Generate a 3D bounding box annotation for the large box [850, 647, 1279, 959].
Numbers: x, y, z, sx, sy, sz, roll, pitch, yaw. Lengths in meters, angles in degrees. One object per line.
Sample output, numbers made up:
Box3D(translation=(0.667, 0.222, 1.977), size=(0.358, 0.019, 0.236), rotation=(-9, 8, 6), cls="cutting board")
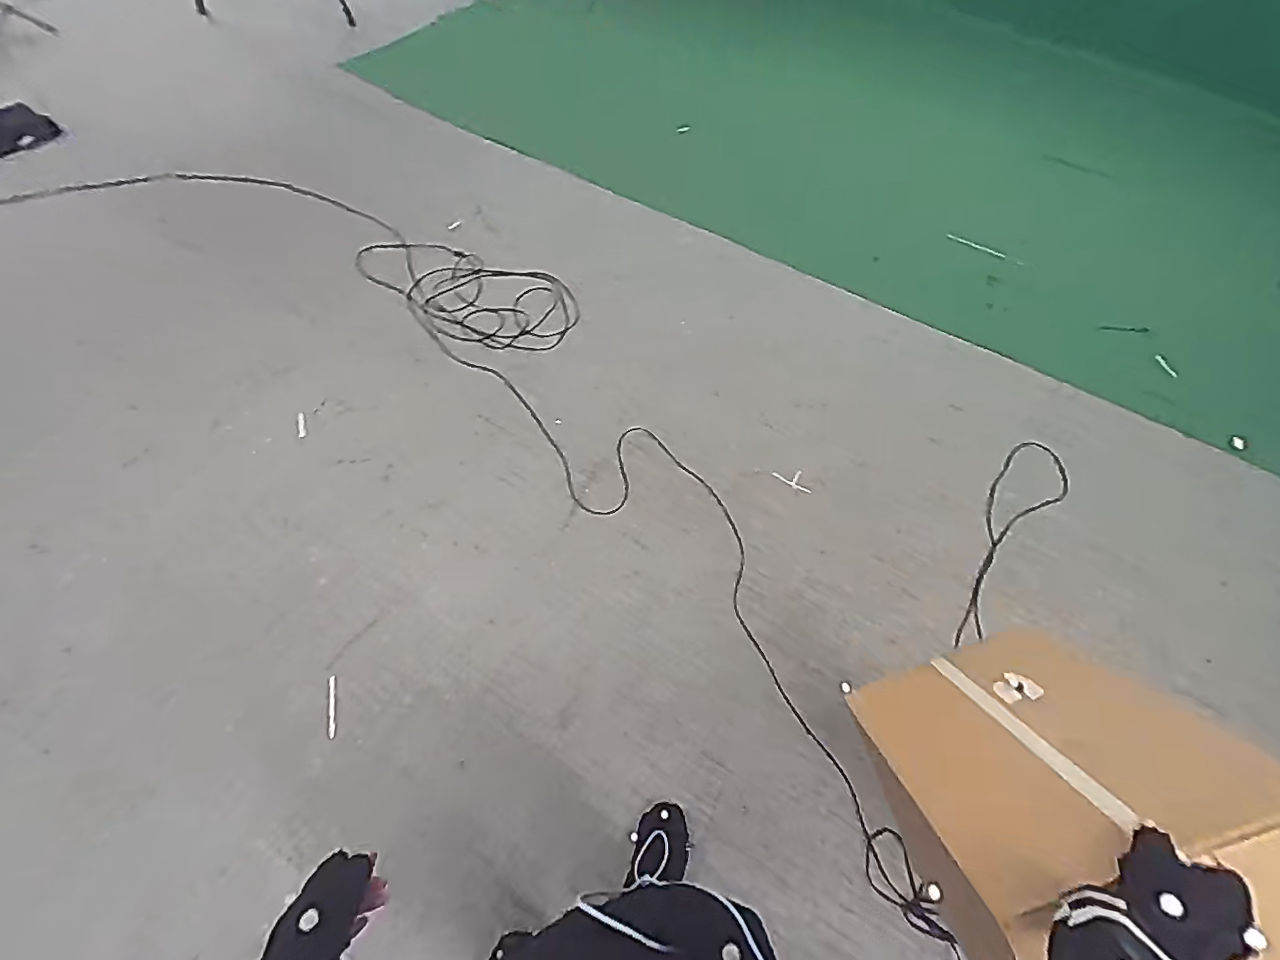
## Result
Box3D(translation=(0.533, 0.475, 0.682), size=(0.320, 0.408, 0.320), rotation=(-21, 94, 3), cls="large box")
